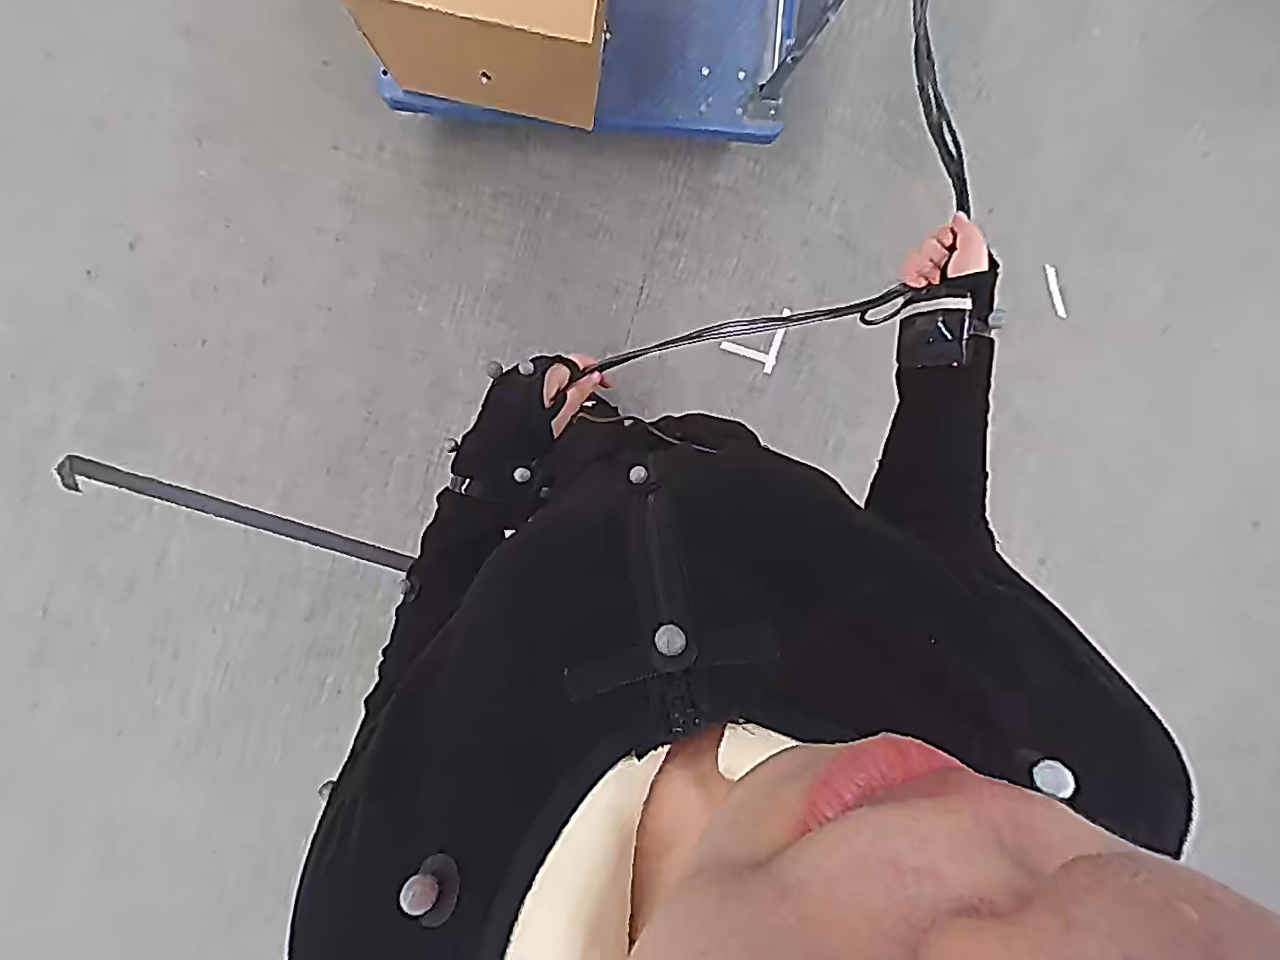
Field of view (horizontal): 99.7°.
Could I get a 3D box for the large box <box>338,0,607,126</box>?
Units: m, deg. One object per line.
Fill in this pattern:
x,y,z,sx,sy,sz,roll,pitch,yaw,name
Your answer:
-0.262,-0.890,0.962,0.408,0.320,0.320,8,99,-6,large box
